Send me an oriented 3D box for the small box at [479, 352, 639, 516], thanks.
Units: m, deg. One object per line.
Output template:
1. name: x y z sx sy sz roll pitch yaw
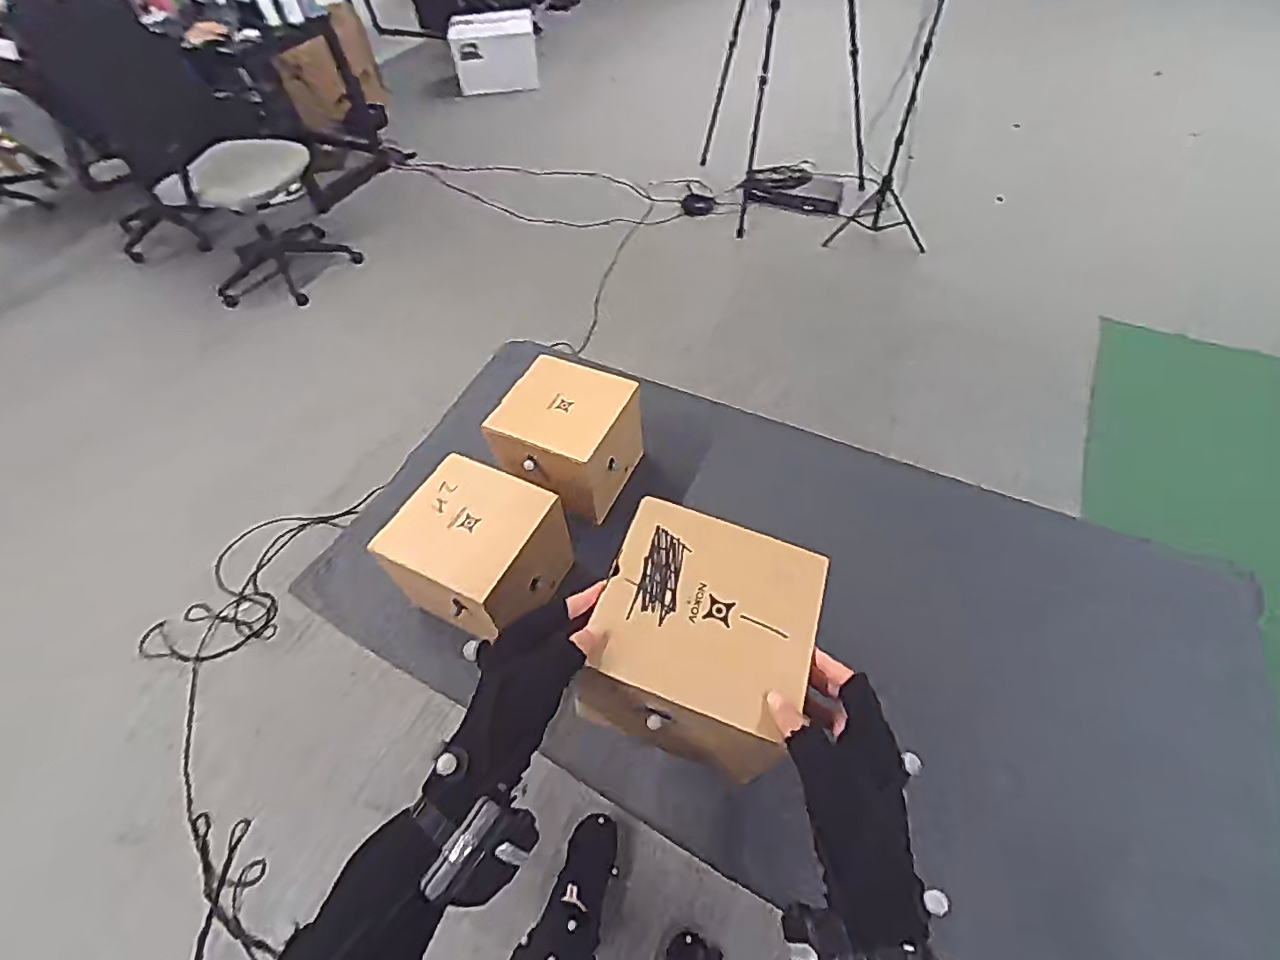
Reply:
1. small box: -0.112 -0.066 0.844 0.179 0.176 0.168 19 58 18

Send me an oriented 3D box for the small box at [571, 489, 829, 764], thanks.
1. small box: 0.051 0.142 0.505 0.179 0.176 0.168 20 56 10

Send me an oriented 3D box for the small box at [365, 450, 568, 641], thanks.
1. small box: -0.215 0.095 0.728 0.179 0.176 0.168 21 56 17
